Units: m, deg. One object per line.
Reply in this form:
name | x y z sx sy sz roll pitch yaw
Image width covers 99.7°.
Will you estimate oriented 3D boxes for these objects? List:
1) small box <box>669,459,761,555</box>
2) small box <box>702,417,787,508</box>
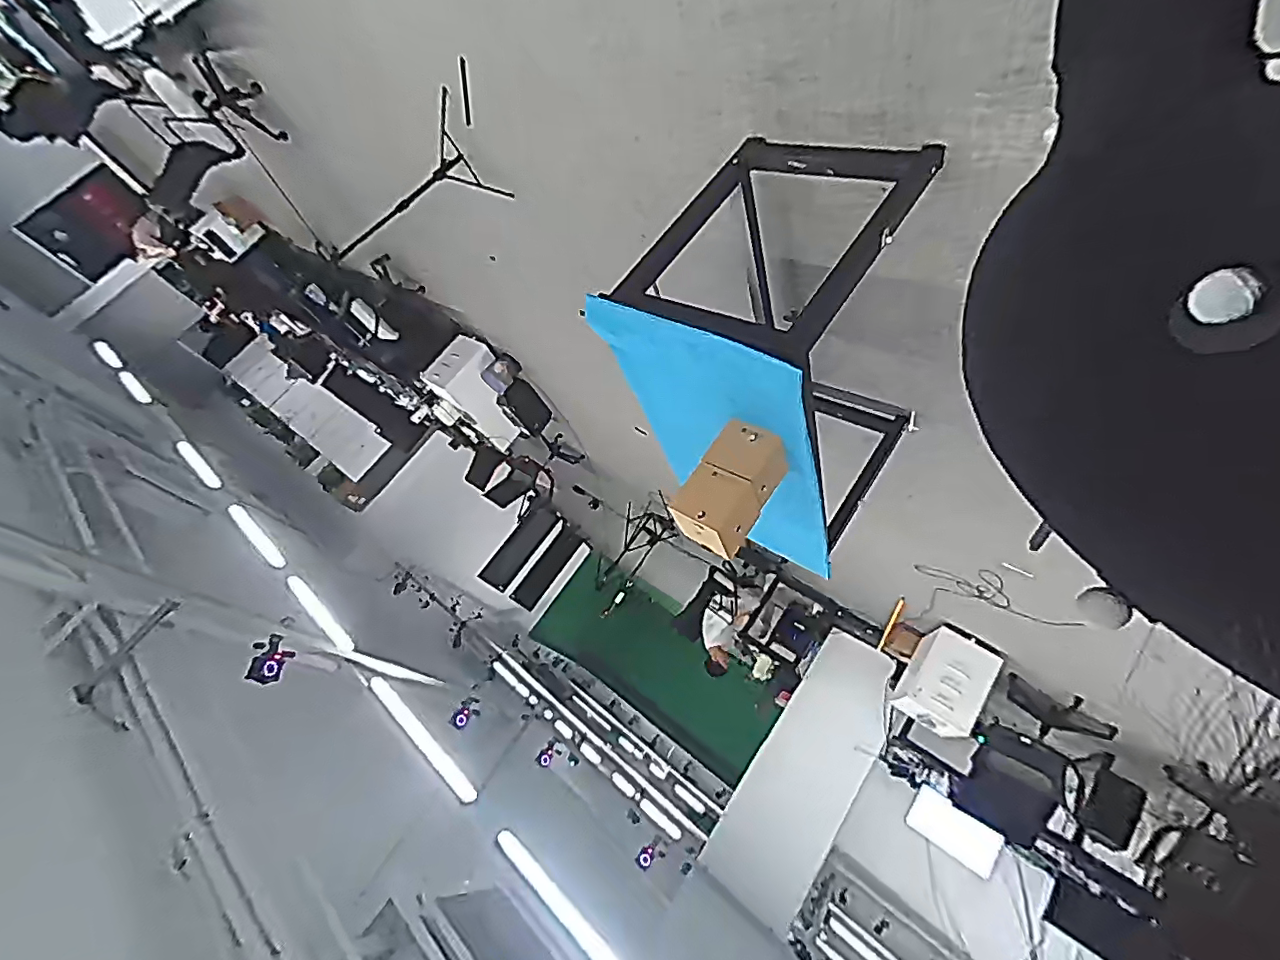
small box | 0.215 0.073 1.505 0.168 0.176 0.179 26 161 37
small box | 0.308 -0.051 1.555 0.168 0.176 0.179 27 162 33
